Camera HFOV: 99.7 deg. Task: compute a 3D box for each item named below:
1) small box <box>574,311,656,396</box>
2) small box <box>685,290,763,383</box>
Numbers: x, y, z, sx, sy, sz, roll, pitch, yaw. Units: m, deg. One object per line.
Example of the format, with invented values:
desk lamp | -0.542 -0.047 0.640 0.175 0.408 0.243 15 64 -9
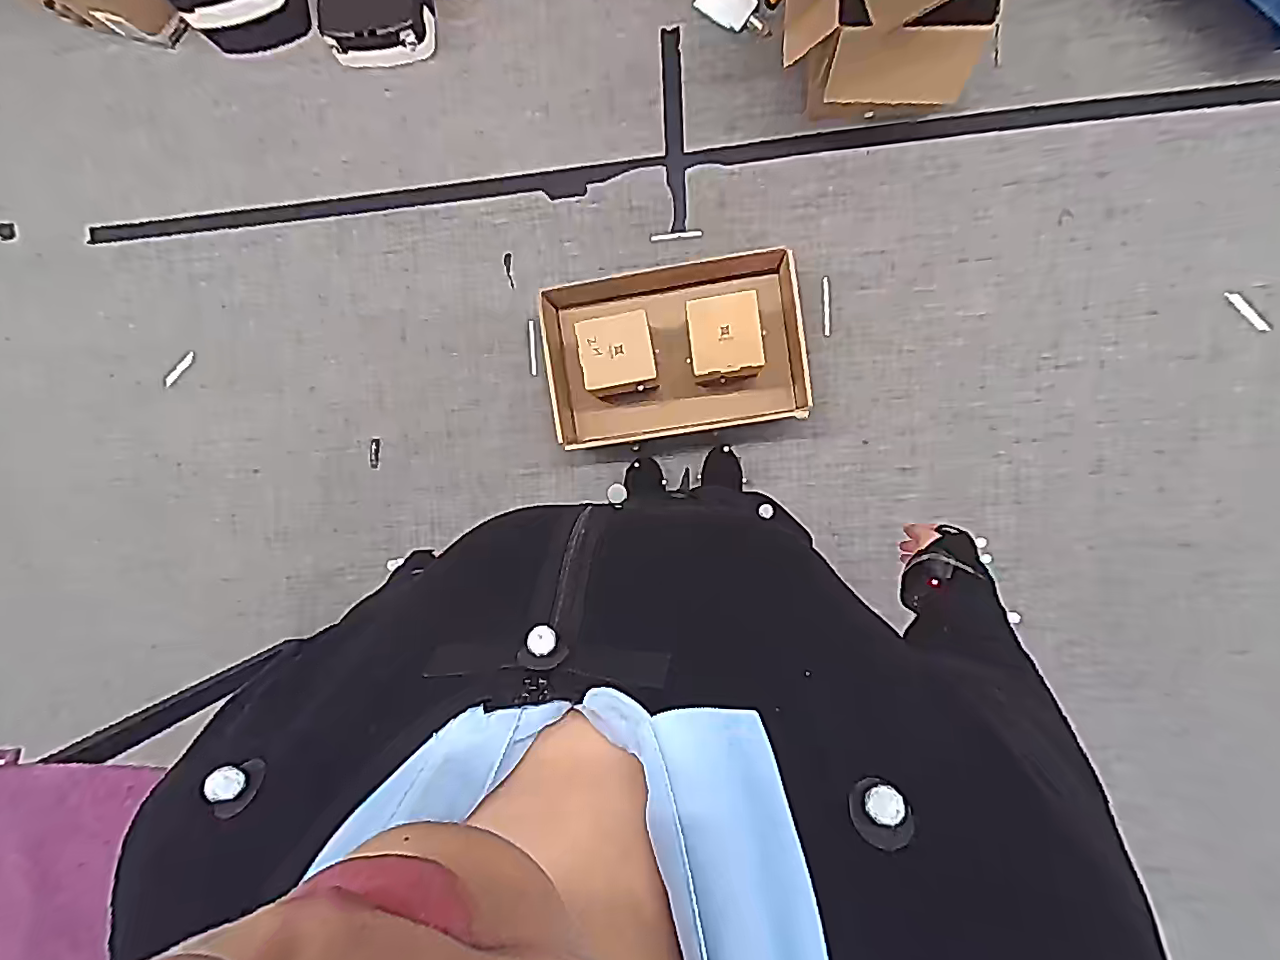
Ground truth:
small box | -0.055 -0.310 1.355 0.179 0.176 0.168 -10 92 5
small box | 0.201 -0.346 1.332 0.168 0.176 0.179 -8 93 6
